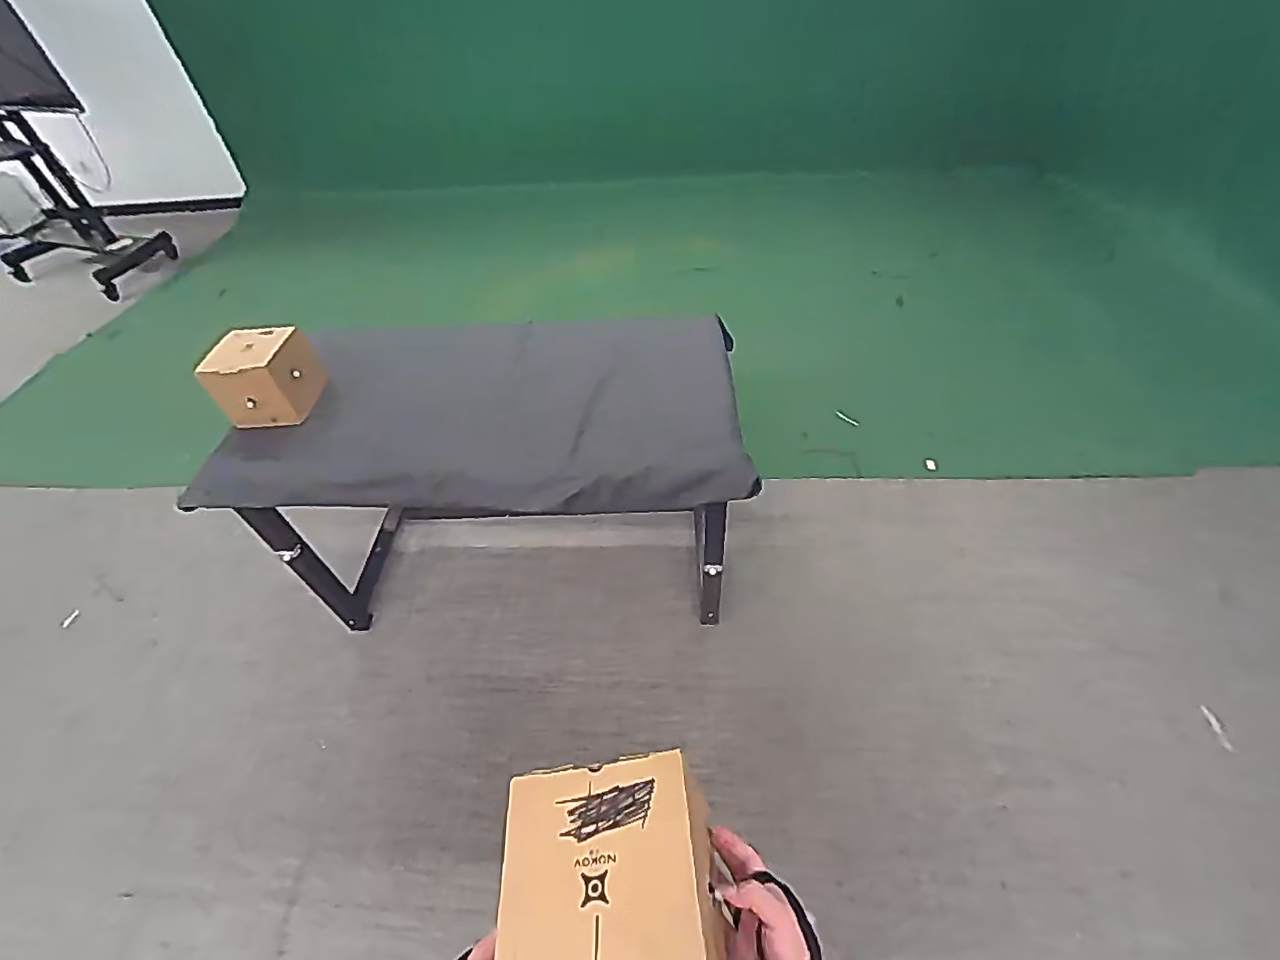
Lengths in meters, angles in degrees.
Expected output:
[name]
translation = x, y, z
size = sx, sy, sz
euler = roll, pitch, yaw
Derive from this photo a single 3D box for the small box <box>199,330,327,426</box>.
[small box]
translation = -0.902, -0.242, 1.318
size = 0.168, 0.176, 0.179
euler = -3, 48, 1
